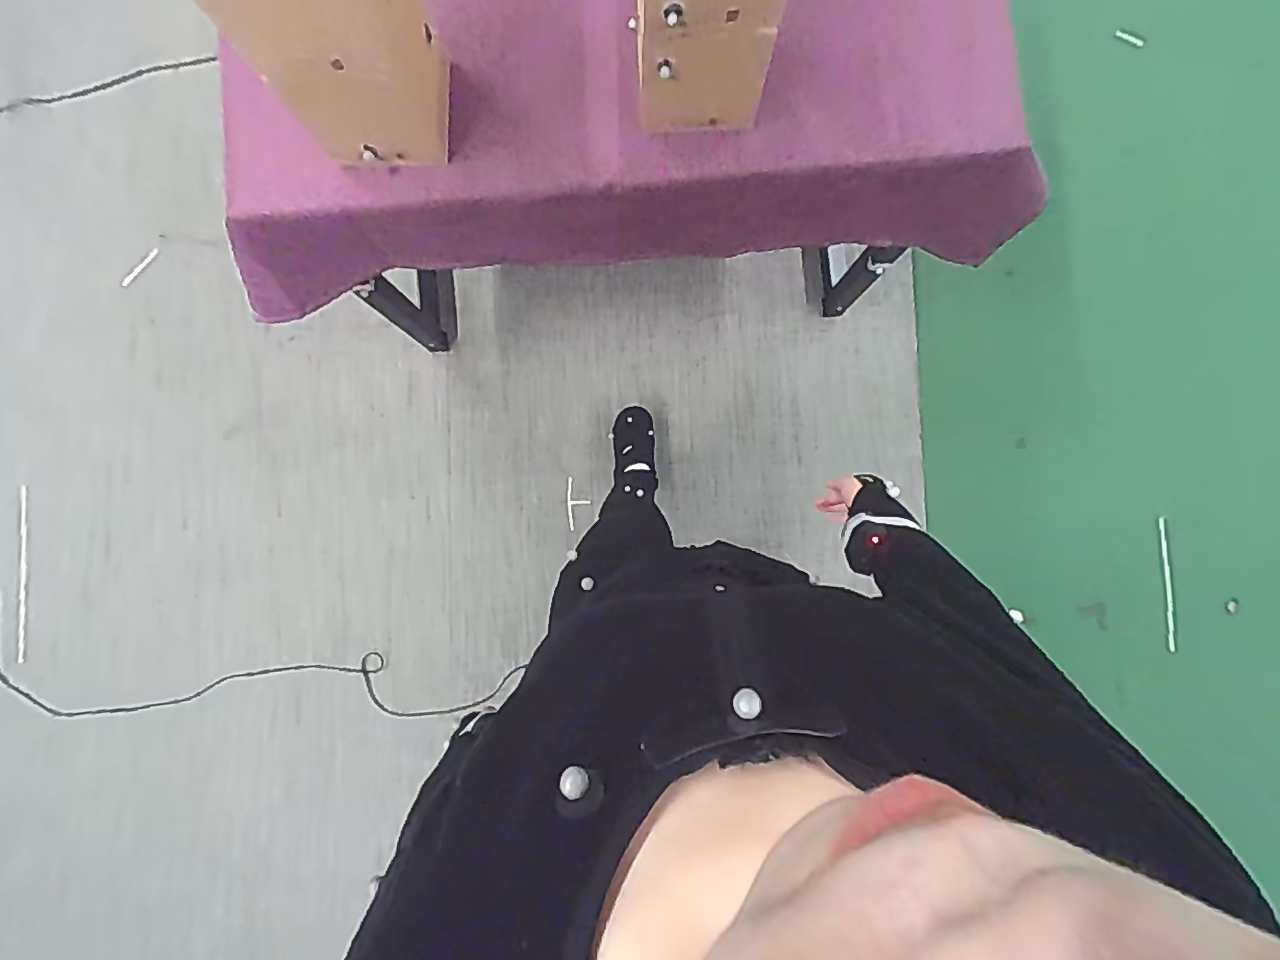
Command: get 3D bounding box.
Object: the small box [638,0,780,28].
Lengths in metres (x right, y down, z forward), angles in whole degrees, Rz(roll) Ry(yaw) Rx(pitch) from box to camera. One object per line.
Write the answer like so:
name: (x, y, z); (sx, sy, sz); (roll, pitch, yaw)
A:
small box: (0.075, -0.628, 0.575); (0.168, 0.176, 0.179); (-6, 85, 0)

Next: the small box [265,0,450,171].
small box: (-0.370, -0.560, 0.739); (0.168, 0.176, 0.179); (0, 87, 1)
